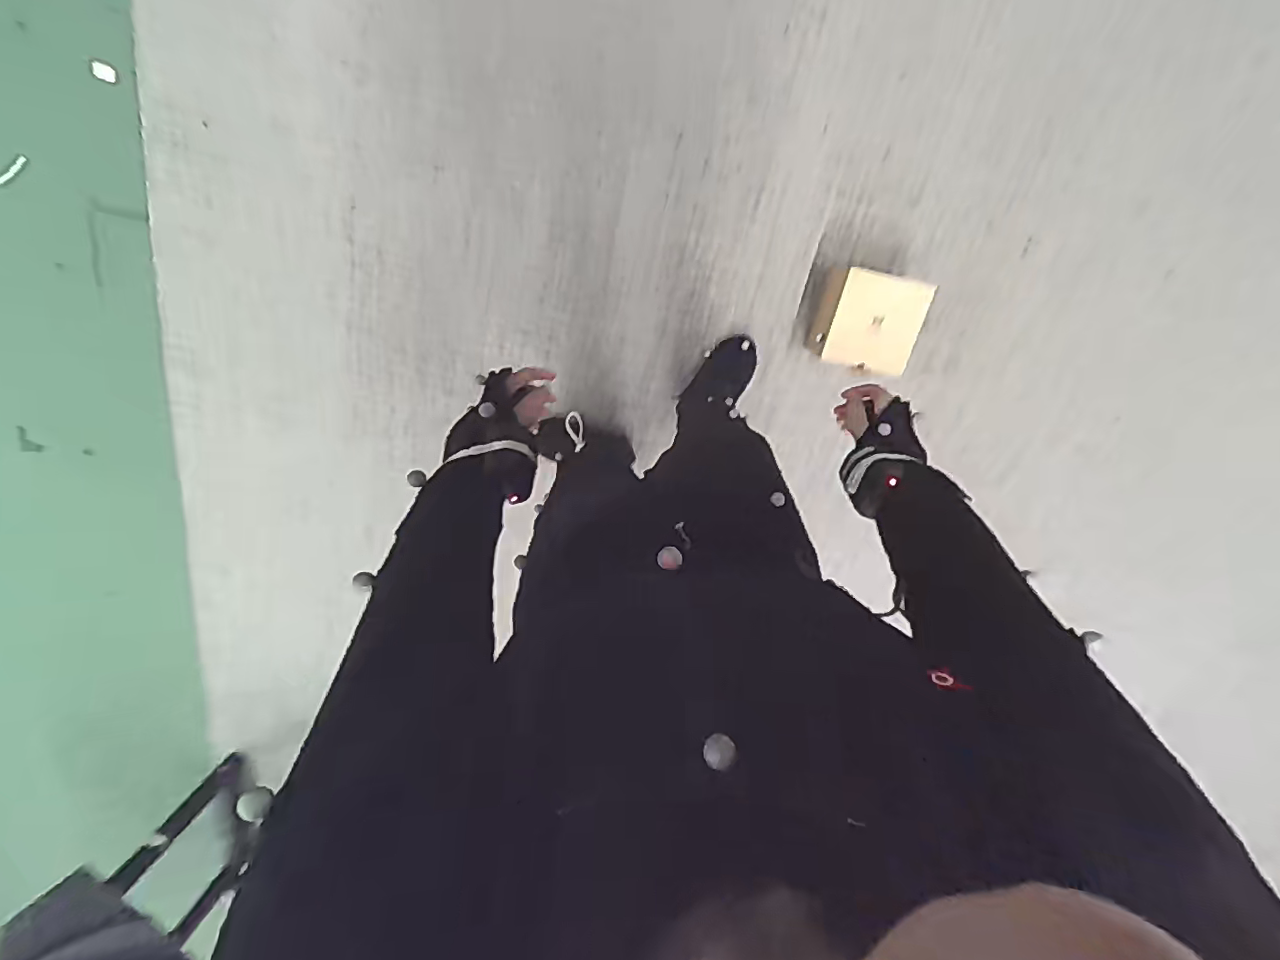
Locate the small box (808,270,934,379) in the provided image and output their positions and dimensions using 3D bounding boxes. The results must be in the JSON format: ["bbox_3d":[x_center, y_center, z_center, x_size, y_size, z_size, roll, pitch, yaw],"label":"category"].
[{"bbox_3d":[0.460,-0.324,1.110,0.168,0.176,0.179,13,112,1],"label":"small box"}]
